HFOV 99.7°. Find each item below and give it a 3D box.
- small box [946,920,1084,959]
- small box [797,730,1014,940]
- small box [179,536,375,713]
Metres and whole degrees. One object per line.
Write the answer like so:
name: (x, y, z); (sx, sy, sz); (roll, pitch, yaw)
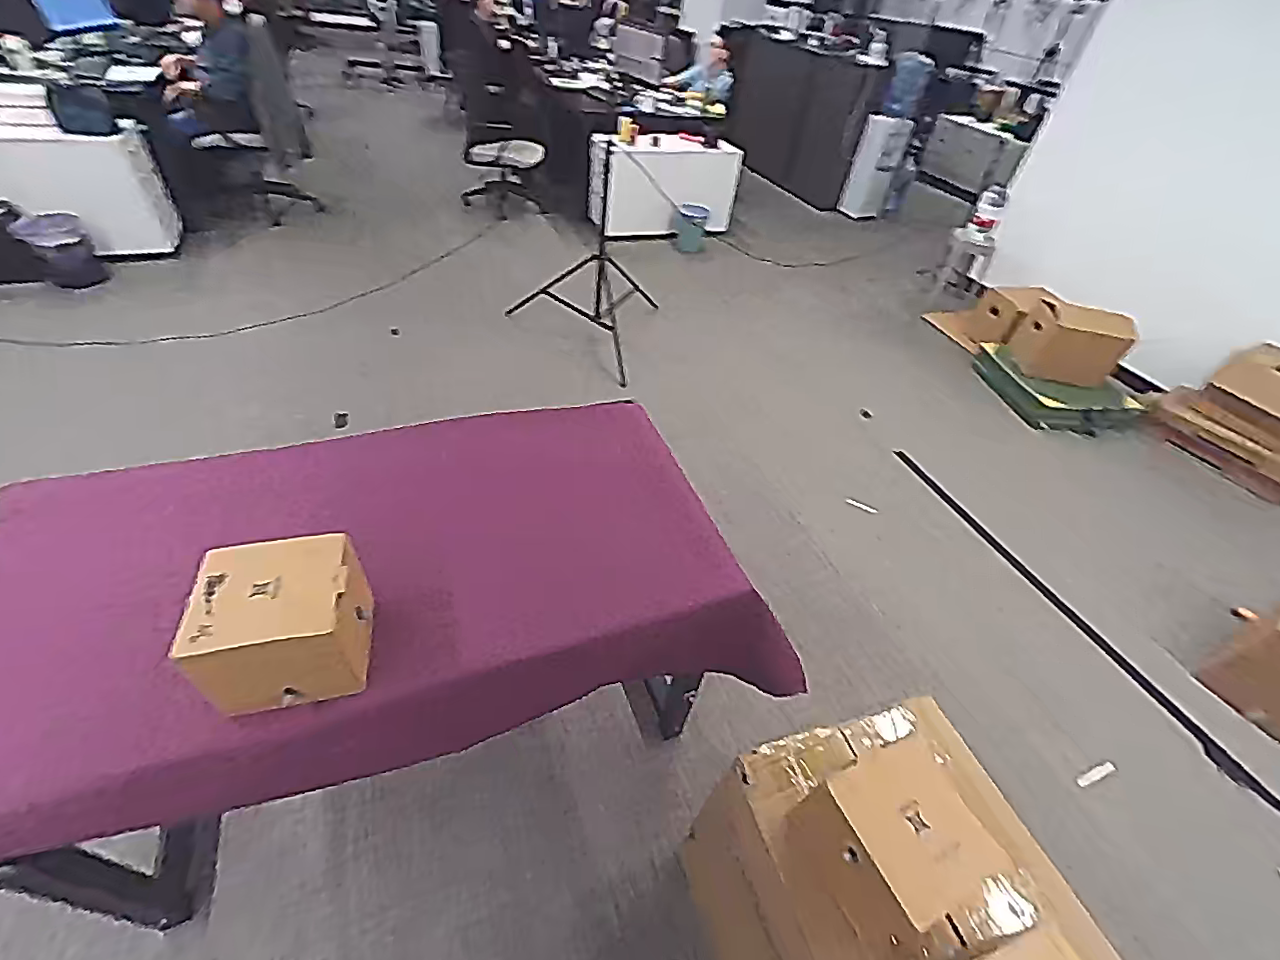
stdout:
small box: (0.425, 0.636, 0.598); (0.168, 0.176, 0.179); (-11, 44, -18)
small box: (0.346, 0.487, 0.745); (0.168, 0.176, 0.179); (-15, 49, -21)
small box: (-0.487, 0.202, 0.763); (0.179, 0.176, 0.168); (-6, 44, -15)
